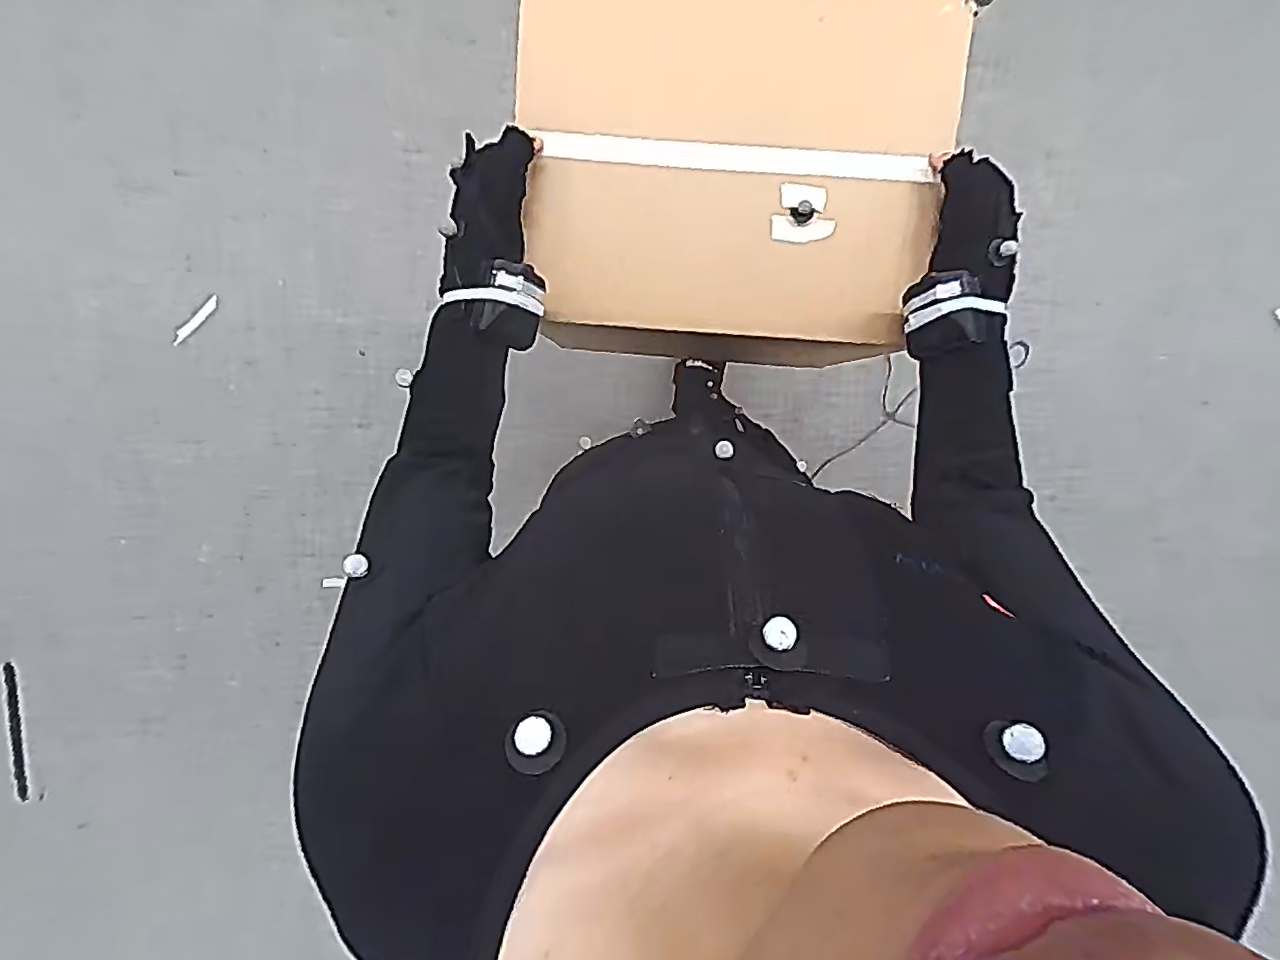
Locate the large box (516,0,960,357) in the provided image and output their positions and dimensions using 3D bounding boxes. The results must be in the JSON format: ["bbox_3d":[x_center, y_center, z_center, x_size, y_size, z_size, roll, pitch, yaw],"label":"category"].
[{"bbox_3d":[0.082,-0.327,0.651,0.408,0.320,0.320,4,98,-1],"label":"large box"}]
